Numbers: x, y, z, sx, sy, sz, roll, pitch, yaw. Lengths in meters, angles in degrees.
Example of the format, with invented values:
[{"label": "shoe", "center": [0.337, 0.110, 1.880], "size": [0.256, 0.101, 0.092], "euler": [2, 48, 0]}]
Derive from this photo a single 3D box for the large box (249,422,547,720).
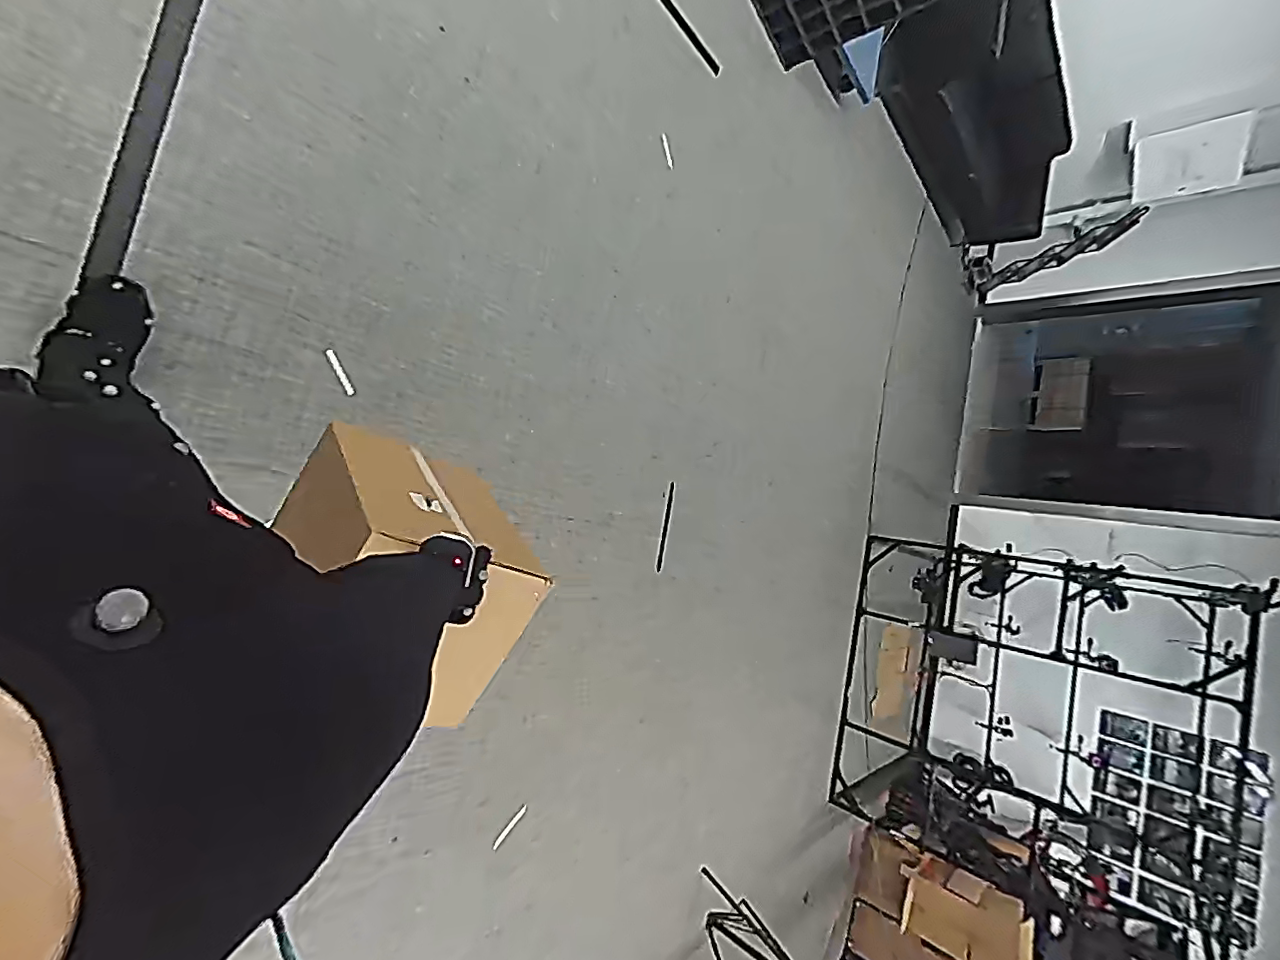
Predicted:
[{"label": "large box", "center": [-0.444, 0.156, 0.960], "size": [0.320, 0.408, 0.320], "euler": [27, 99, -44]}]
